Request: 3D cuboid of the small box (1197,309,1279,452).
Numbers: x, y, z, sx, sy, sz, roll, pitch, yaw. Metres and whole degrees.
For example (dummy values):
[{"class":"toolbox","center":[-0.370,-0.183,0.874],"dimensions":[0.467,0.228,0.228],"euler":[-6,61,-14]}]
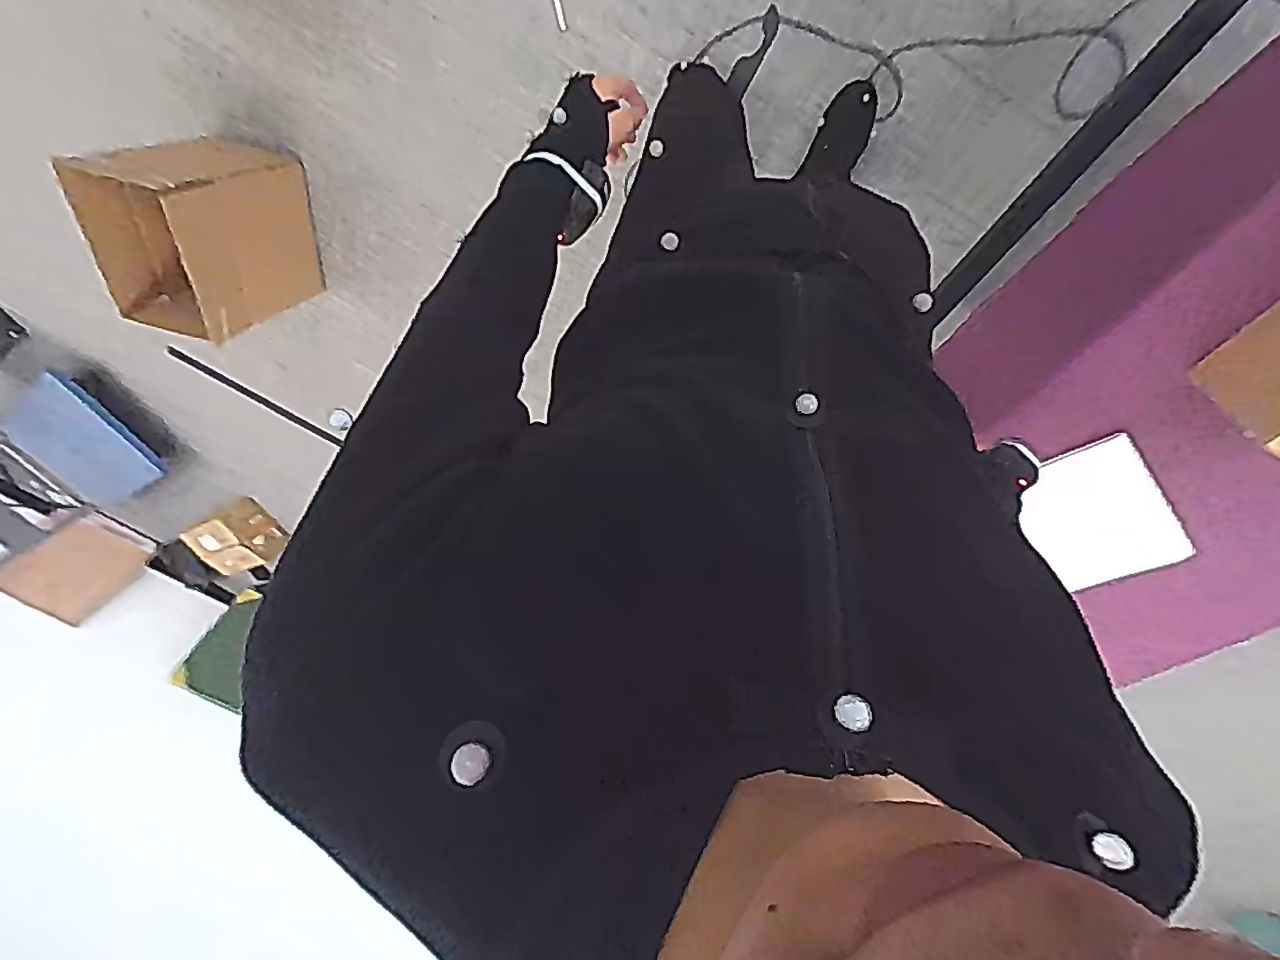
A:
[{"class":"small box","center":[0.772,-0.107,0.568],"dimensions":[0.168,0.176,0.179],"euler":[27,132,-2]}]
